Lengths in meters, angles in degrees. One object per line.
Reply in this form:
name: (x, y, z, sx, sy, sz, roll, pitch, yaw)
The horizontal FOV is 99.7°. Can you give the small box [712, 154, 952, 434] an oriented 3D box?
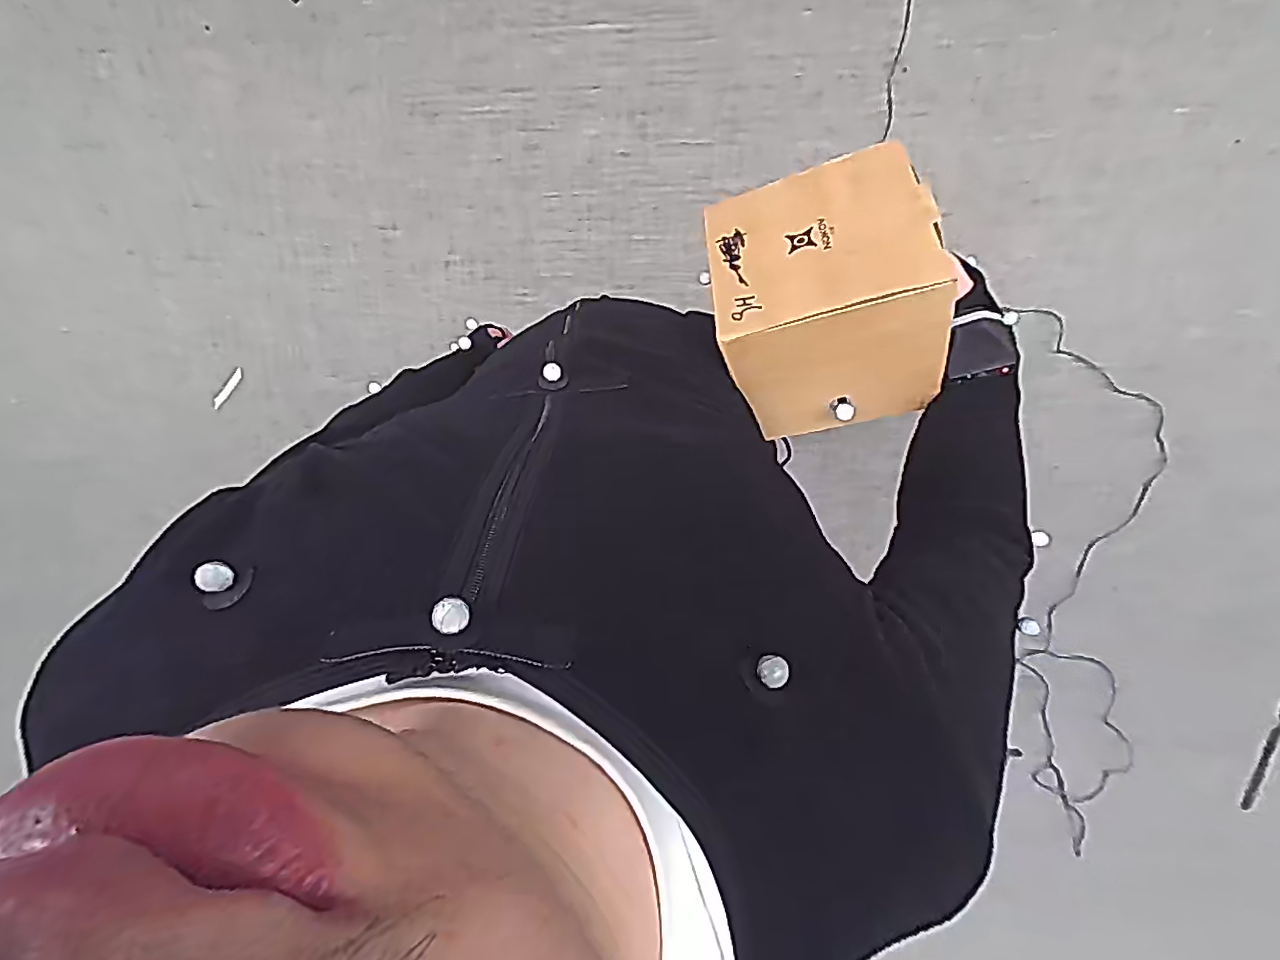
small box: (0.179, -0.166, 0.530, 0.179, 0.176, 0.168, -11, 60, 18)
